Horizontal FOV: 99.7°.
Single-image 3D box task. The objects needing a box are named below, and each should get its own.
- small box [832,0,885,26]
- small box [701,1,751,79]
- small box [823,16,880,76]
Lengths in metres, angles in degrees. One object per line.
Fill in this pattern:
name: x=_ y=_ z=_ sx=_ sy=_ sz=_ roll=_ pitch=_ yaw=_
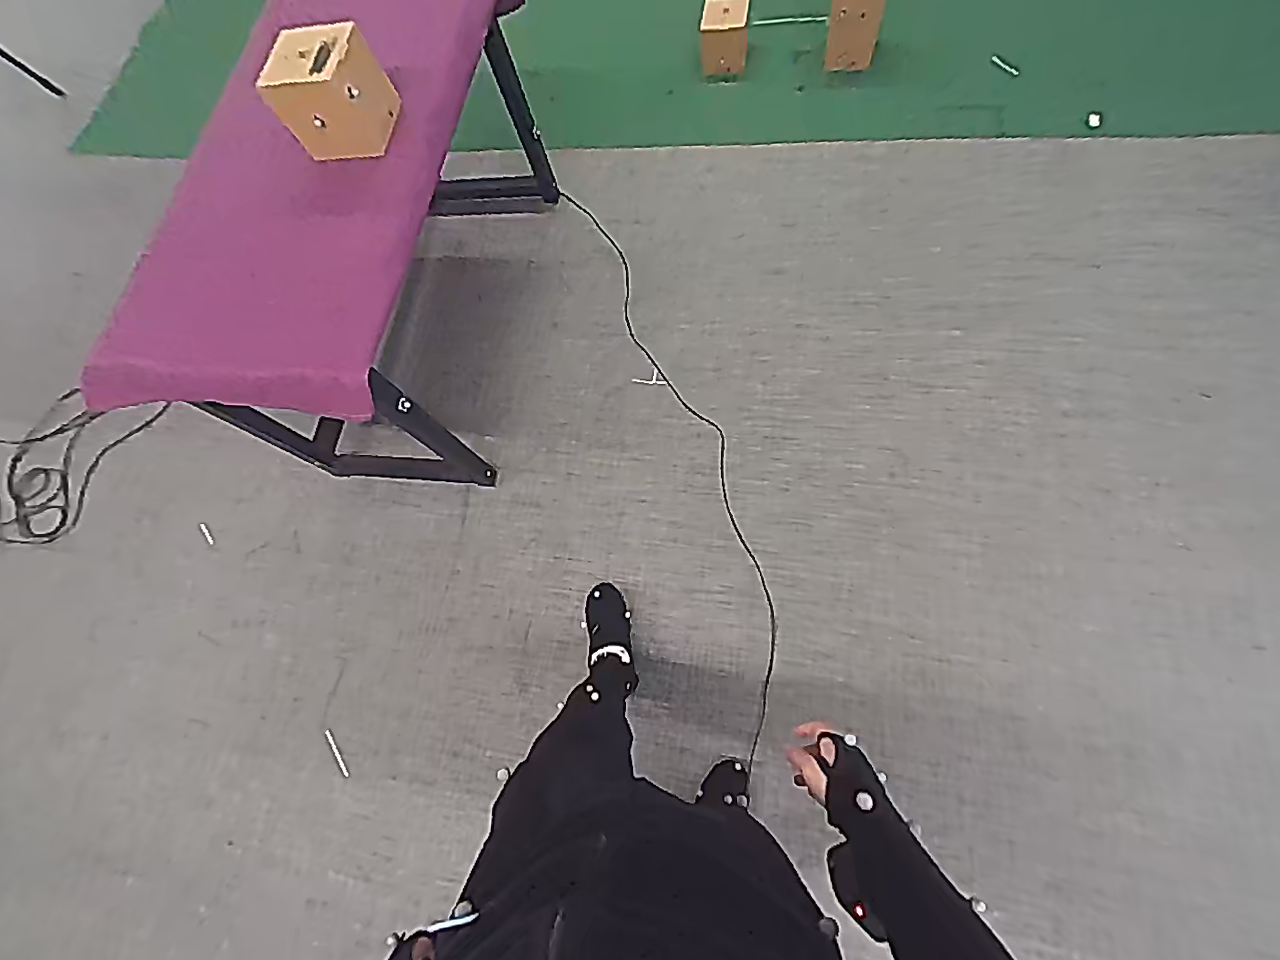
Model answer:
small box: x=0.752 y=-1.681 z=1.828 sx=0.168 sy=0.176 sz=0.179 roll=8 pitch=72 yaw=11
small box: x=0.330 y=-1.682 z=2.070 sx=0.168 sy=0.176 sz=0.179 roll=7 pitch=72 yaw=12
small box: x=0.775 y=-1.629 z=1.982 sx=0.168 sy=0.176 sz=0.179 roll=8 pitch=73 yaw=11
